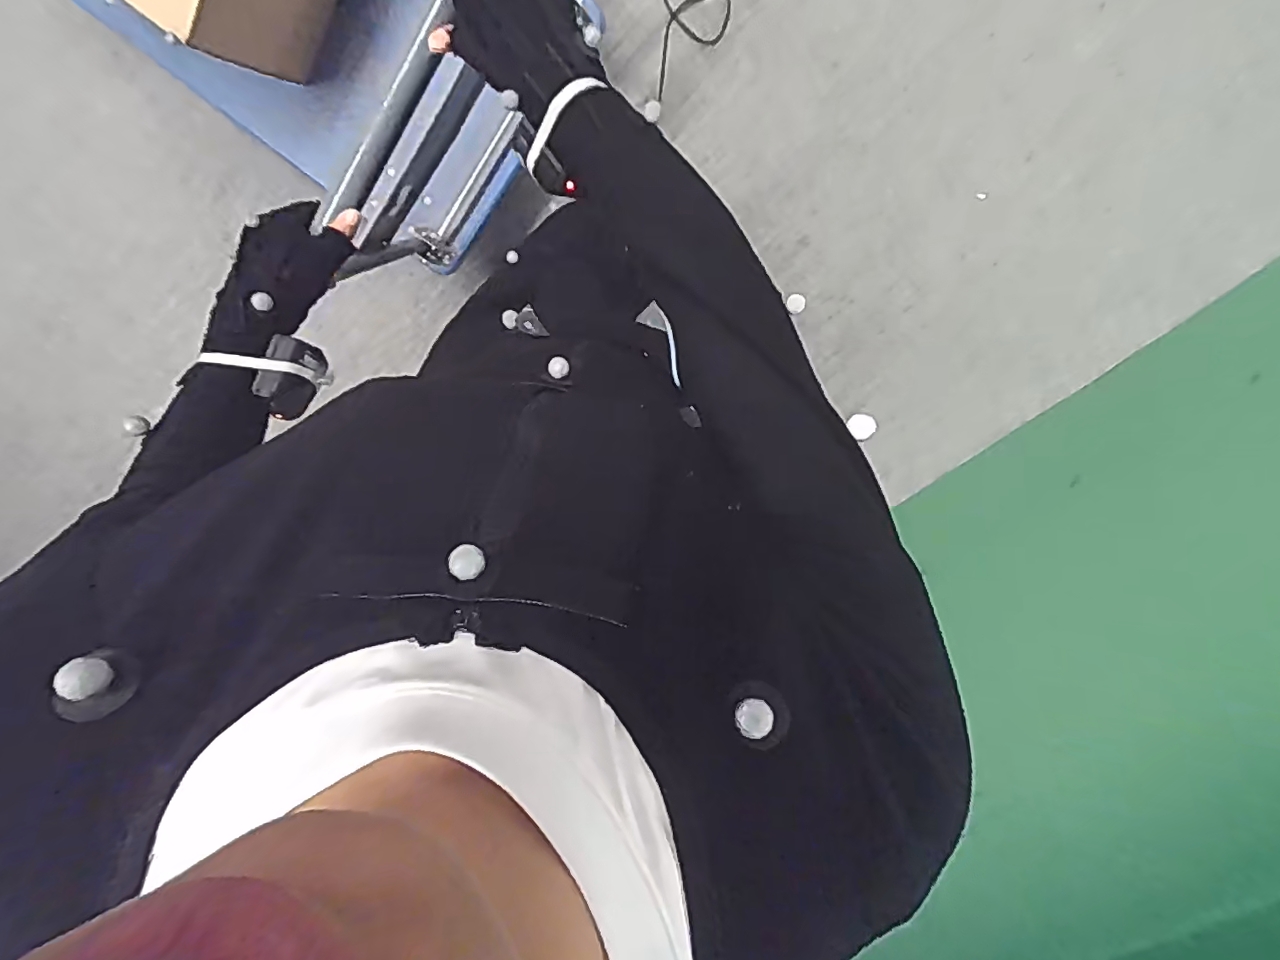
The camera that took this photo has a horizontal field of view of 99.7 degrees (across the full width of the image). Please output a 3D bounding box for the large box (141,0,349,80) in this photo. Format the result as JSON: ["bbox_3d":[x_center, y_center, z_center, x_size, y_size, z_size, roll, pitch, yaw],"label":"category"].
[{"bbox_3d":[-0.600,-0.885,0.755,0.320,0.320,0.408,34,113,-16],"label":"large box"}]
